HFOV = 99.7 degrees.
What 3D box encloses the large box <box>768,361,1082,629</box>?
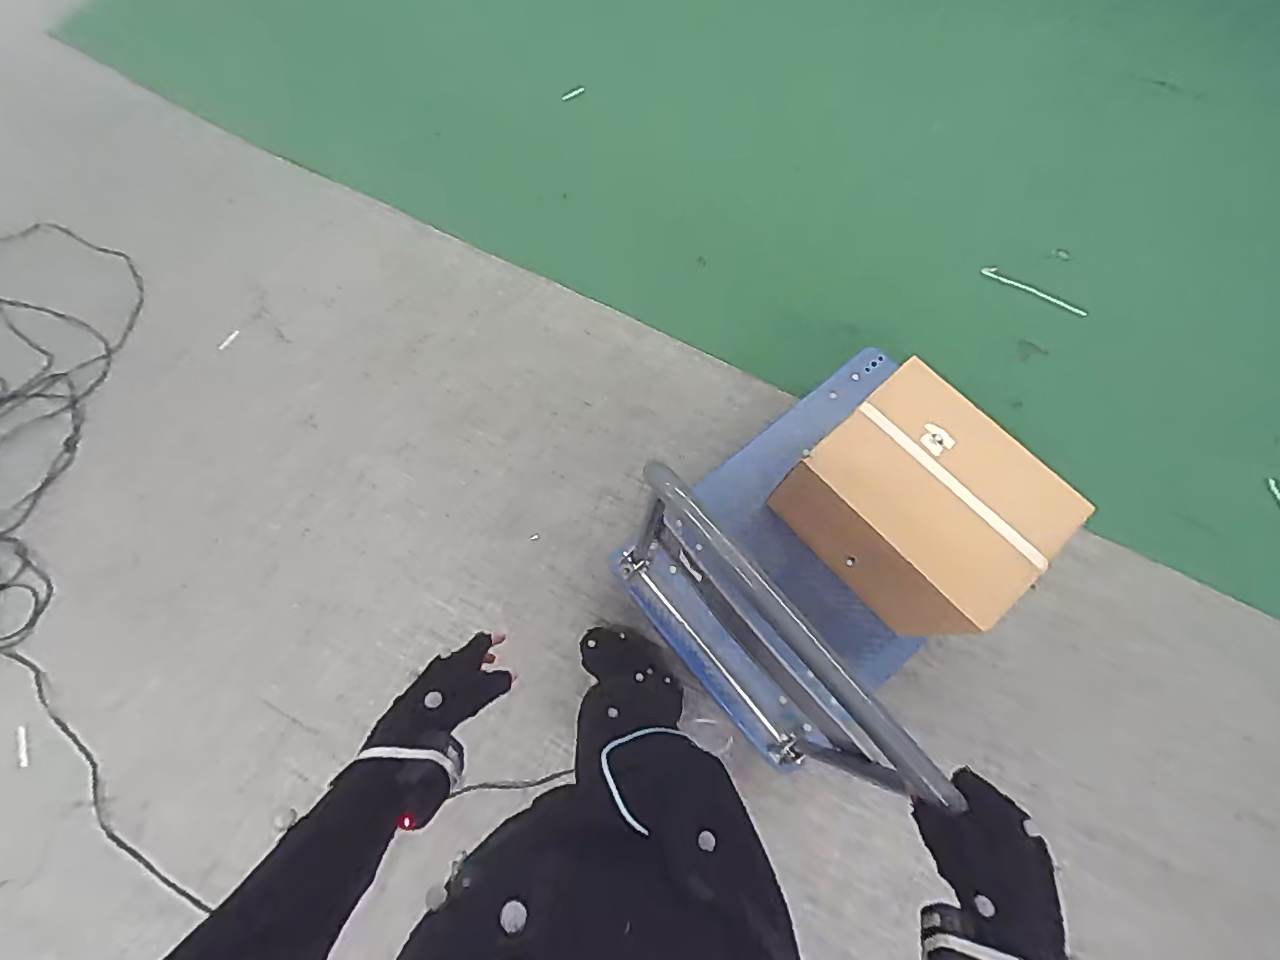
[{"bbox_3d":[0.534,0.049,1.101,0.320,0.320,0.408,-41,77,-11],"label":"large box"}]
